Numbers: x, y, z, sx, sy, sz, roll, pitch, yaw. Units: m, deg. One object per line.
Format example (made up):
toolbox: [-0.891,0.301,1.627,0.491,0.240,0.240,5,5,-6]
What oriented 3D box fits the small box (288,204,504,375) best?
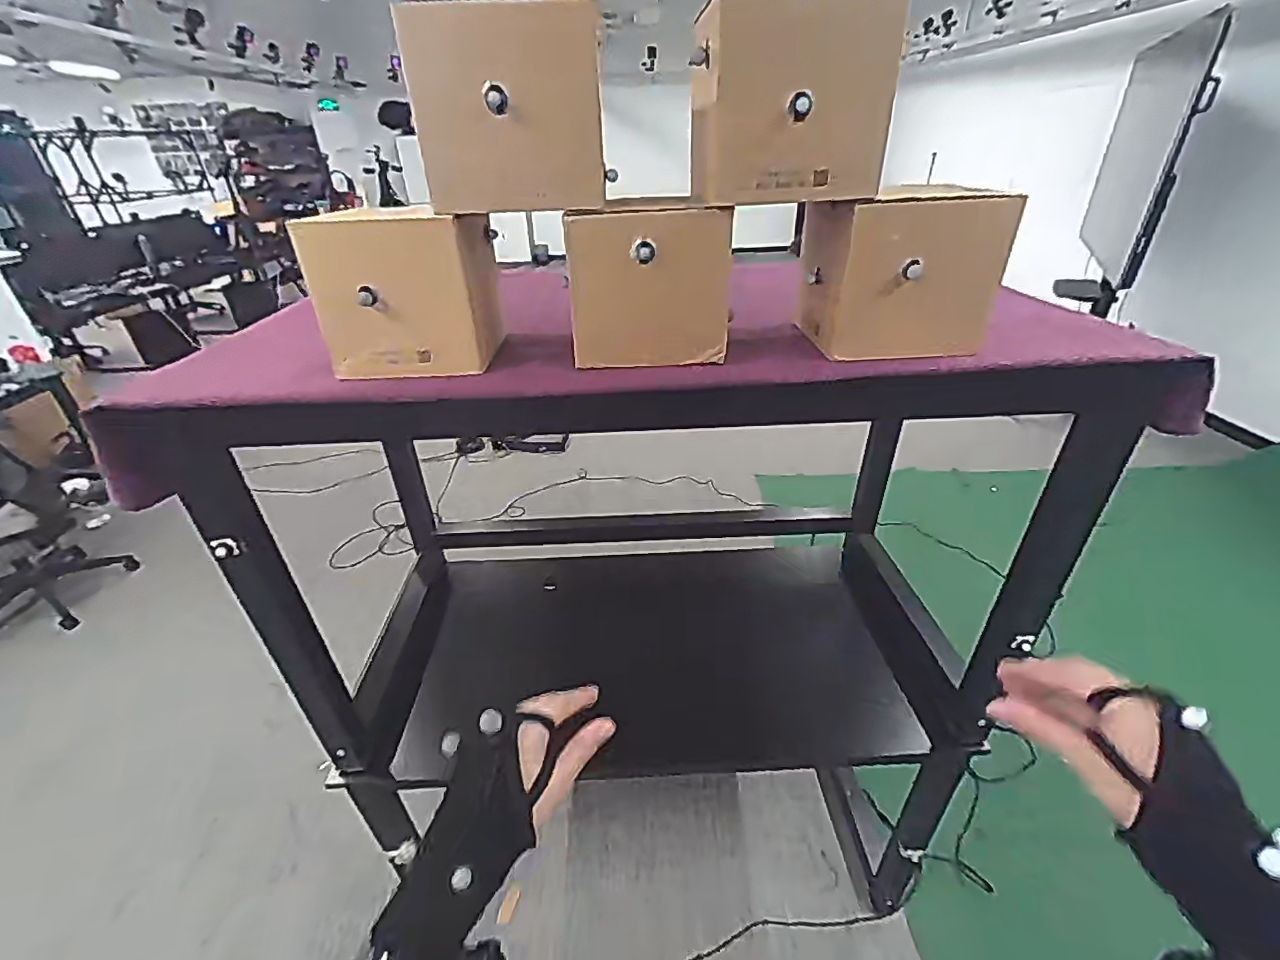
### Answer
small box: [-0.266,-0.228,0.644,0.168,0.176,0.179,-3,30,-2]

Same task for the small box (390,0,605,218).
small box: [-0.128,-0.381,0.570,0.179,0.176,0.168,-4,31,-2]

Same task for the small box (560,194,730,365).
small box: [0.008,-0.242,0.649,0.179,0.176,0.168,-2,31,0]

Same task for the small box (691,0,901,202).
small box: [0.145,-0.388,0.563,0.168,0.176,0.179,-3,31,-1]

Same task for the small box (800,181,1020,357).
small box: [0.299,-0.254,0.649,0.179,0.176,0.168,-4,33,0]
